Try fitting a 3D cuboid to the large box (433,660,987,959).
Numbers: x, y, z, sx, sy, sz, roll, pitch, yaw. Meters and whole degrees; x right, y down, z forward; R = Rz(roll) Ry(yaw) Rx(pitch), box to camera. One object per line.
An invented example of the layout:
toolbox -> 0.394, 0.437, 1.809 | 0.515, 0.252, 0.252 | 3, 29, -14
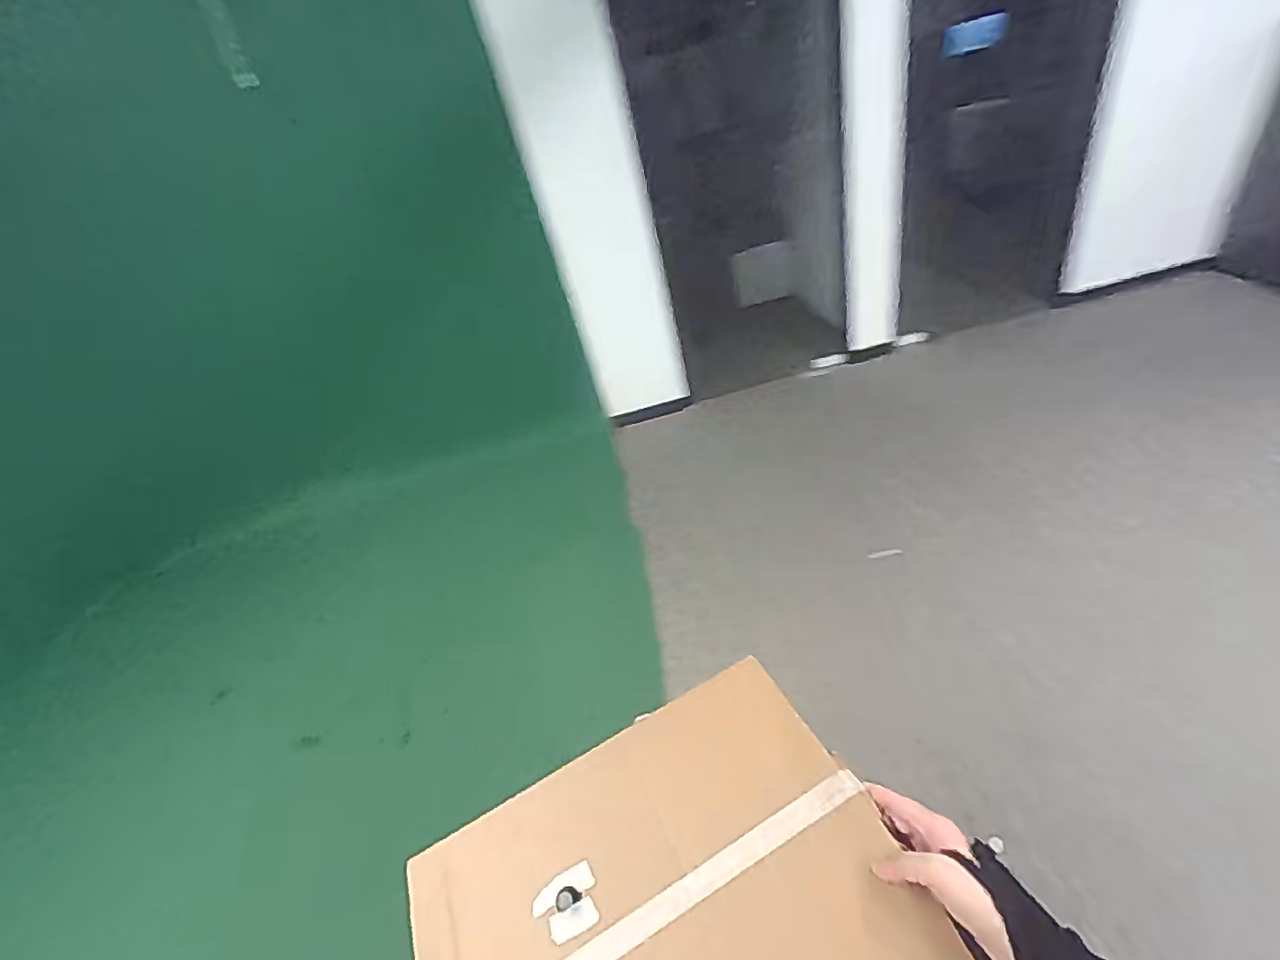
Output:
large box -> 0.065, 0.475, 0.563 | 0.408, 0.320, 0.320 | -28, 41, -9
